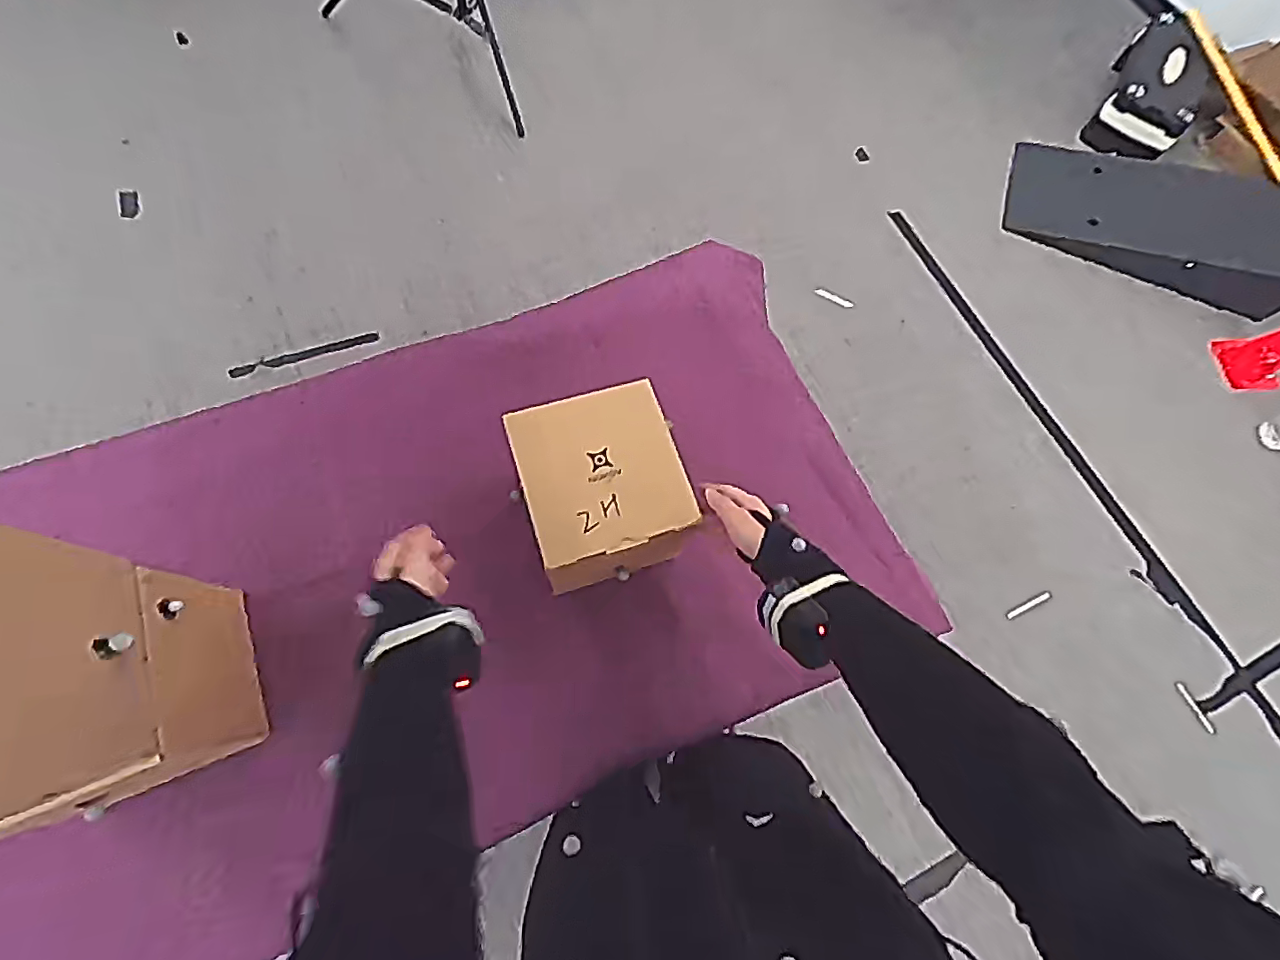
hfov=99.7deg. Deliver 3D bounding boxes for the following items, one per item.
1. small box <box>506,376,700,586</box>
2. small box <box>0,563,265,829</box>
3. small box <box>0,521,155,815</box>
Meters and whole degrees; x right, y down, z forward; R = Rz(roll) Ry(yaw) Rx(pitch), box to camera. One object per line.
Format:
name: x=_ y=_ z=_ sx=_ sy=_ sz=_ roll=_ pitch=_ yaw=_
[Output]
small box: x=-0.049 y=0.009 z=0.634 sx=0.168 sy=0.176 sz=0.179 roll=-16 pitch=73 yaw=-11
small box: x=-0.500 y=0.200 z=0.519 sx=0.168 sy=0.176 sz=0.179 roll=-20 pitch=74 yaw=-13
small box: x=-0.486 y=0.140 z=0.367 sx=0.168 sy=0.176 sz=0.179 roll=-21 pitch=73 yaw=-13
